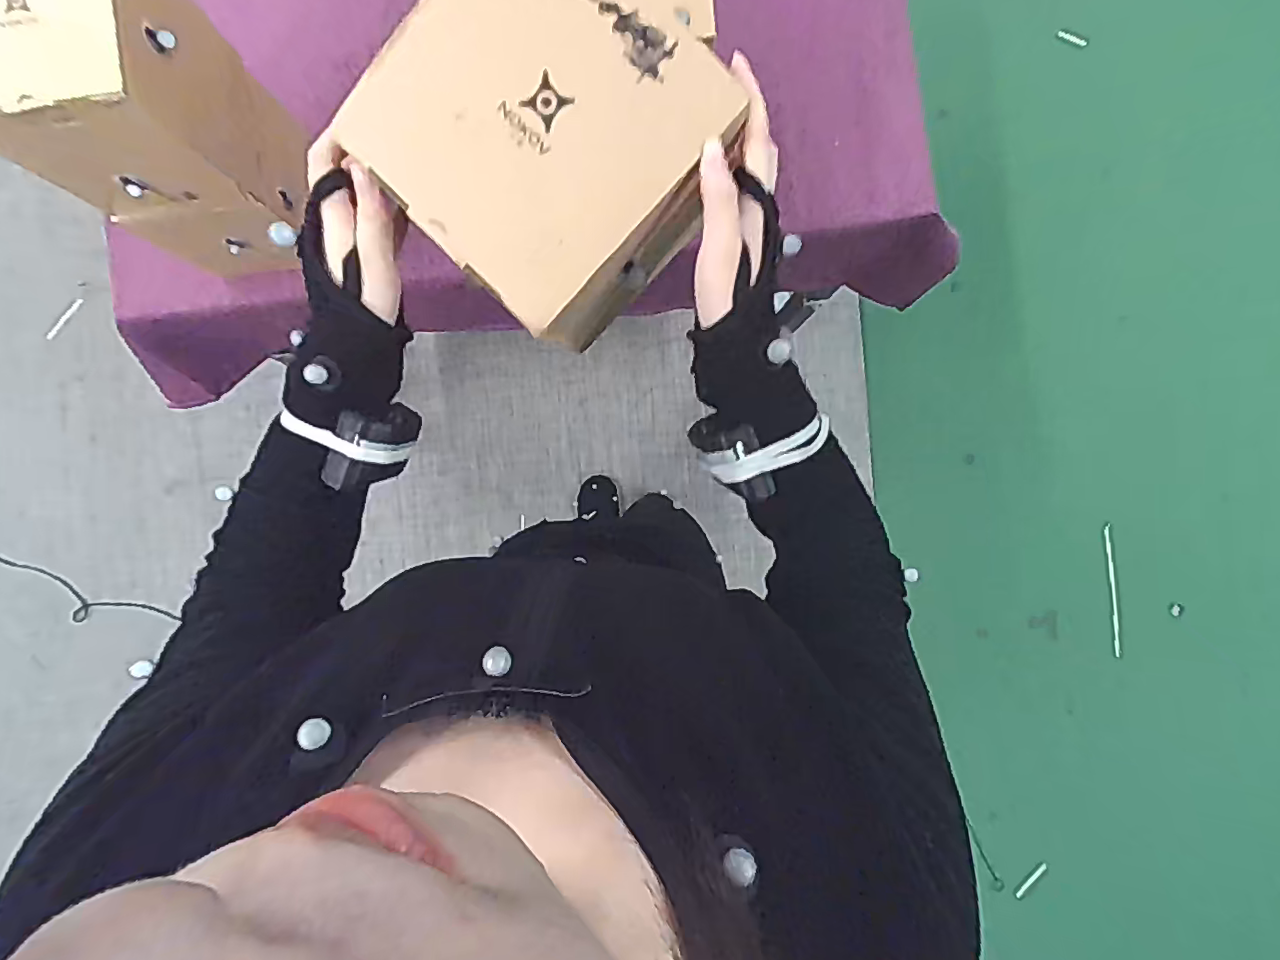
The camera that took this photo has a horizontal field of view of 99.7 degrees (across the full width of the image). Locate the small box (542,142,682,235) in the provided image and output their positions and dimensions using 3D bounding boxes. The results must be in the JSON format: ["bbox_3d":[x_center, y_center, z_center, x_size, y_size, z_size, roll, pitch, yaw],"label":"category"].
[{"bbox_3d":[-0.038,-0.442,0.714,0.168,0.176,0.179,-4,89,-2],"label":"small box"}]

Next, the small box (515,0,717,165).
[{"bbox_3d":[-0.025,-0.448,0.549,0.179,0.176,0.168,-4,89,-2],"label":"small box"}]

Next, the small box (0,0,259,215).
[{"bbox_3d":[-0.520,-0.396,0.536,0.168,0.176,0.179,-8,90,-1],"label":"small box"}]
